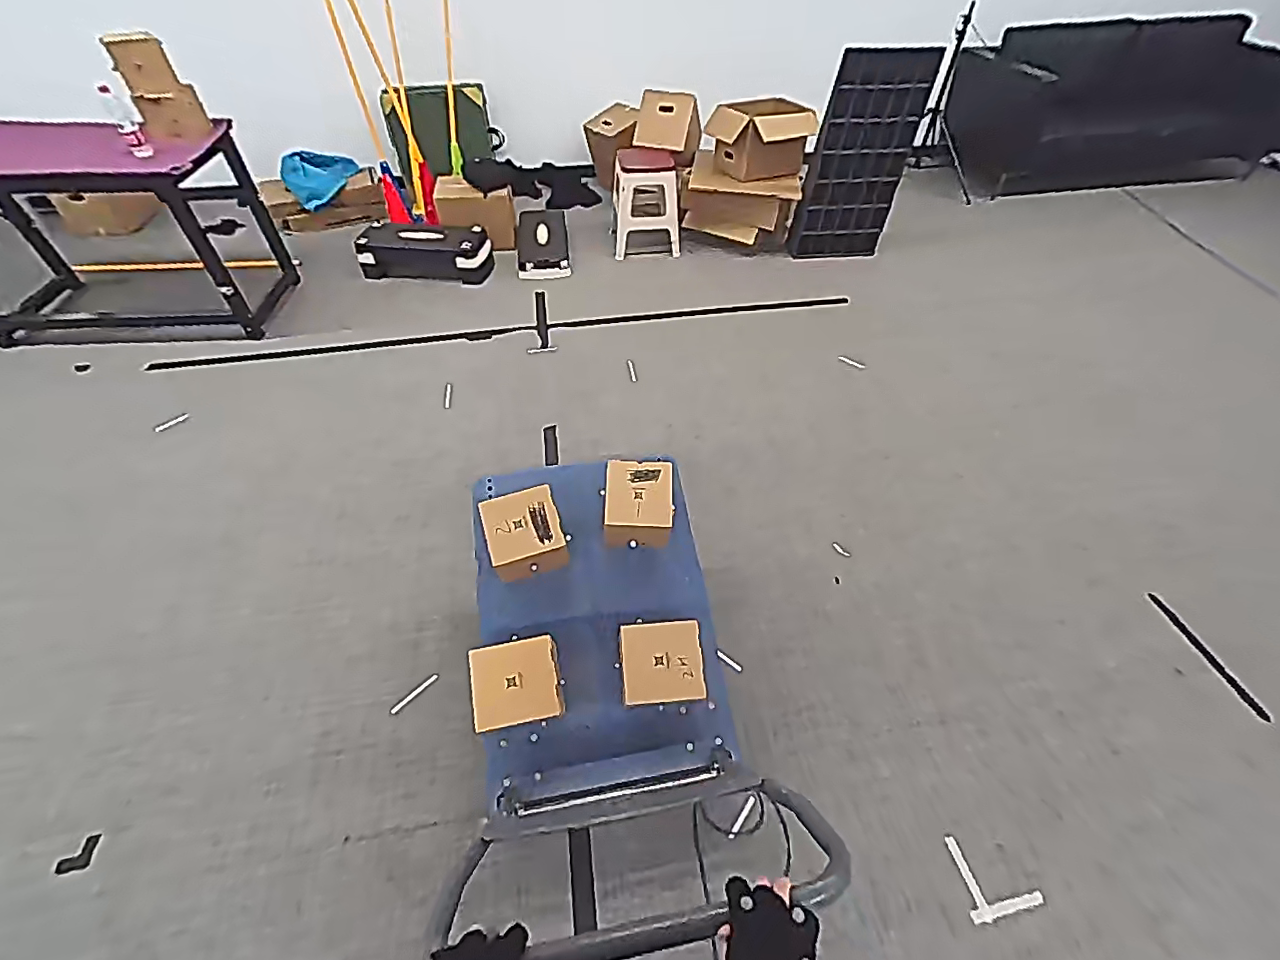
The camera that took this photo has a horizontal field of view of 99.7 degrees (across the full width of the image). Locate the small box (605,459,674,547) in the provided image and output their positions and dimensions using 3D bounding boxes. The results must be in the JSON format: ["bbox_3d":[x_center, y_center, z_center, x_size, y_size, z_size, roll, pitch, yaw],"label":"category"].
[{"bbox_3d":[-0.004,0.062,1.399,0.168,0.176,0.179,3,67,-3],"label":"small box"}]

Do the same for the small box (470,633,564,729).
[{"bbox_3d":[-0.270,0.452,1.205,0.179,0.176,0.168,-9,67,-10],"label":"small box"}]

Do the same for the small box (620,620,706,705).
[{"bbox_3d":[0.044,0.423,1.241,0.179,0.176,0.168,-2,66,-5],"label":"small box"}]
